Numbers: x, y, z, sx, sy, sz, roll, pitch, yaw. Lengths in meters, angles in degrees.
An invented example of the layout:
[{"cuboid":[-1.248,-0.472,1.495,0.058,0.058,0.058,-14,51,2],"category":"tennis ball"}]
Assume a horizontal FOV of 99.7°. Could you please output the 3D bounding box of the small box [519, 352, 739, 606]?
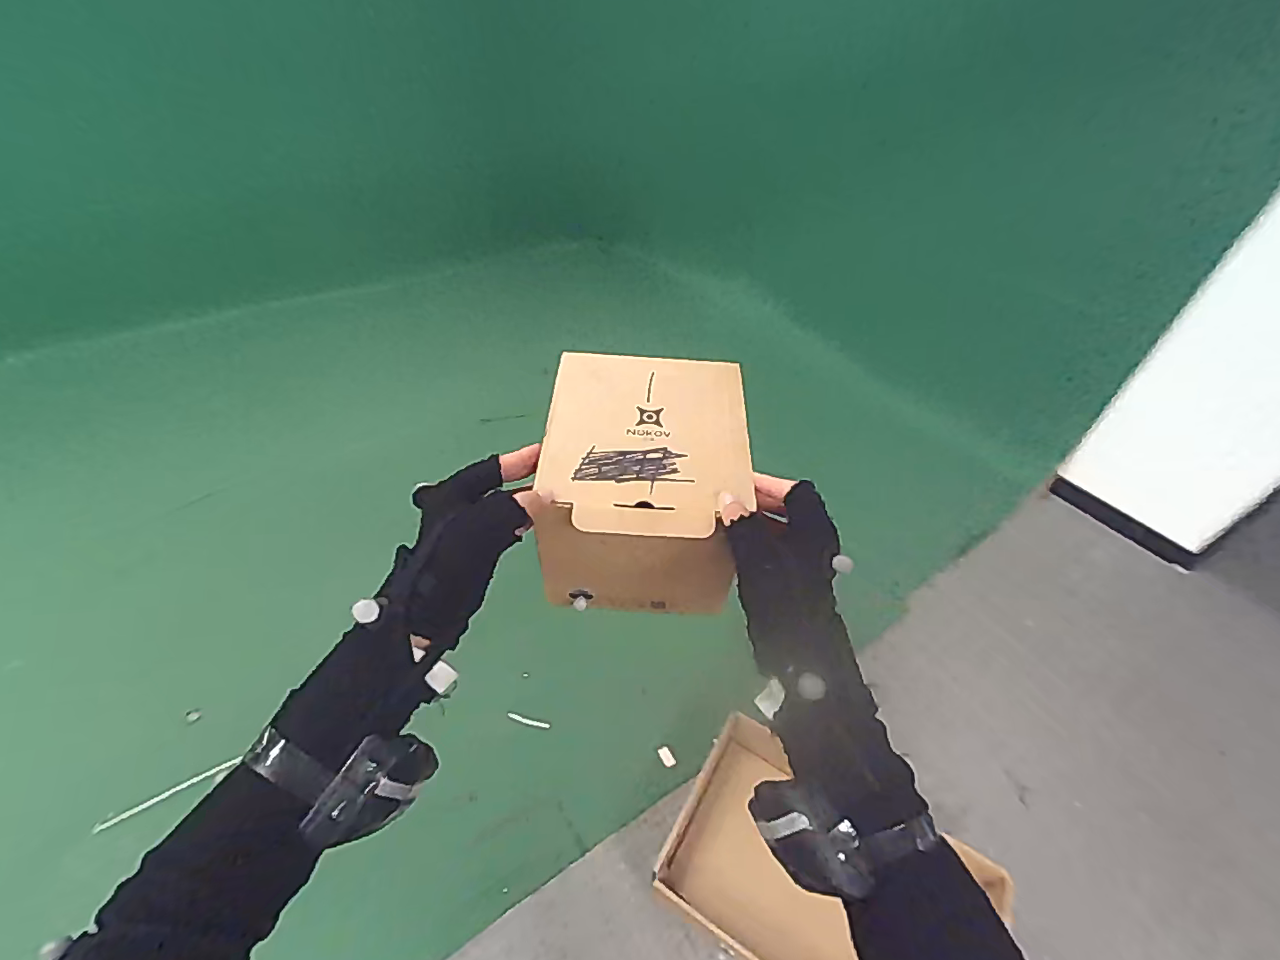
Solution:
[{"cuboid":[-0.007,0.004,0.506,0.168,0.176,0.179,3,50,-1],"category":"small box"}]
